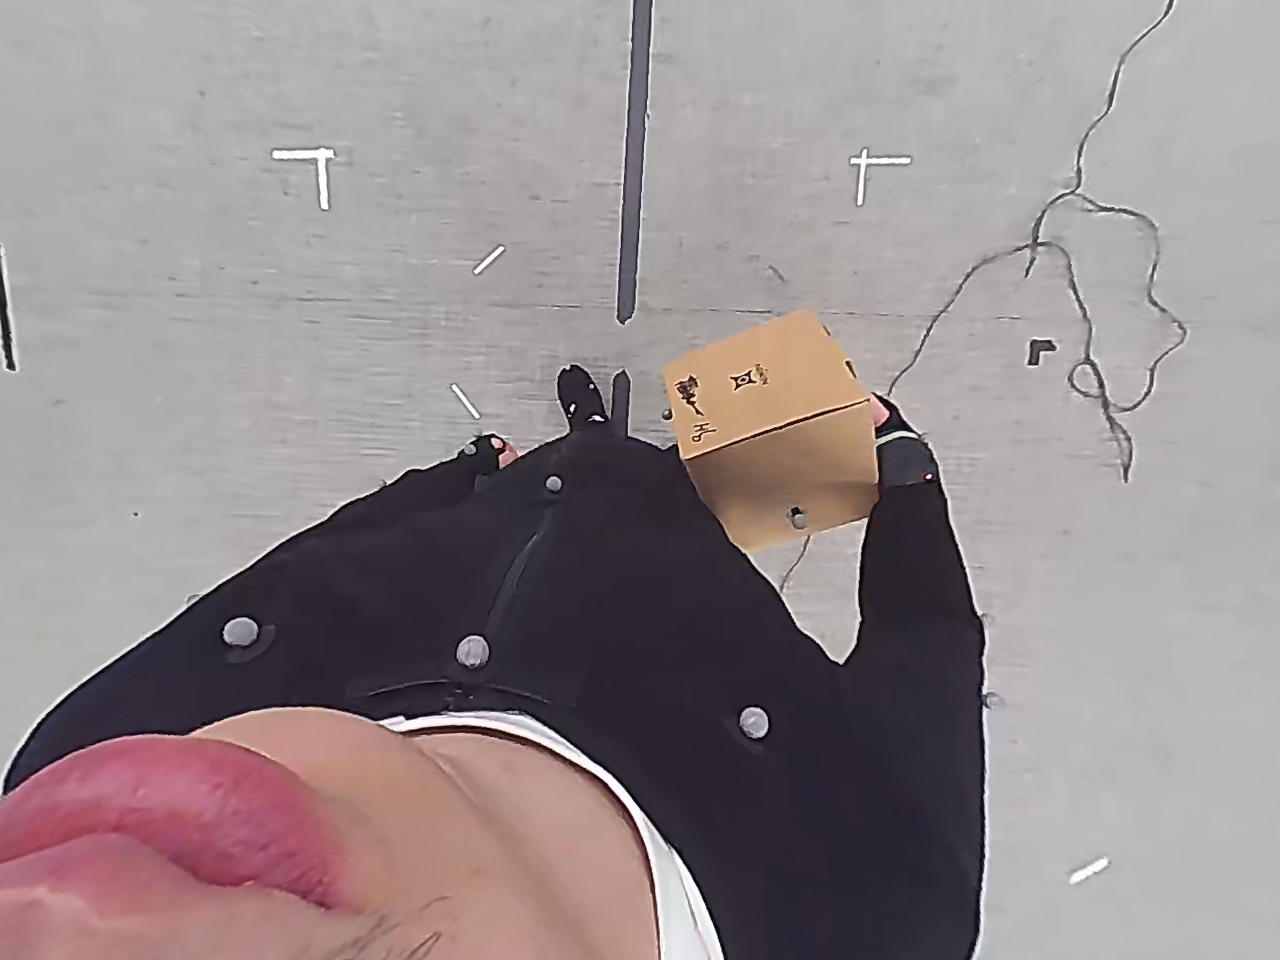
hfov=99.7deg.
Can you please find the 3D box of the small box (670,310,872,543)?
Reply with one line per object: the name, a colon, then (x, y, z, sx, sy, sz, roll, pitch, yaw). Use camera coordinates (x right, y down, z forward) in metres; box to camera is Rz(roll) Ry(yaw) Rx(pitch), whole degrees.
small box: (0.148, -0.055, 0.613, 0.179, 0.168, 0.176, -18, 133, 11)
